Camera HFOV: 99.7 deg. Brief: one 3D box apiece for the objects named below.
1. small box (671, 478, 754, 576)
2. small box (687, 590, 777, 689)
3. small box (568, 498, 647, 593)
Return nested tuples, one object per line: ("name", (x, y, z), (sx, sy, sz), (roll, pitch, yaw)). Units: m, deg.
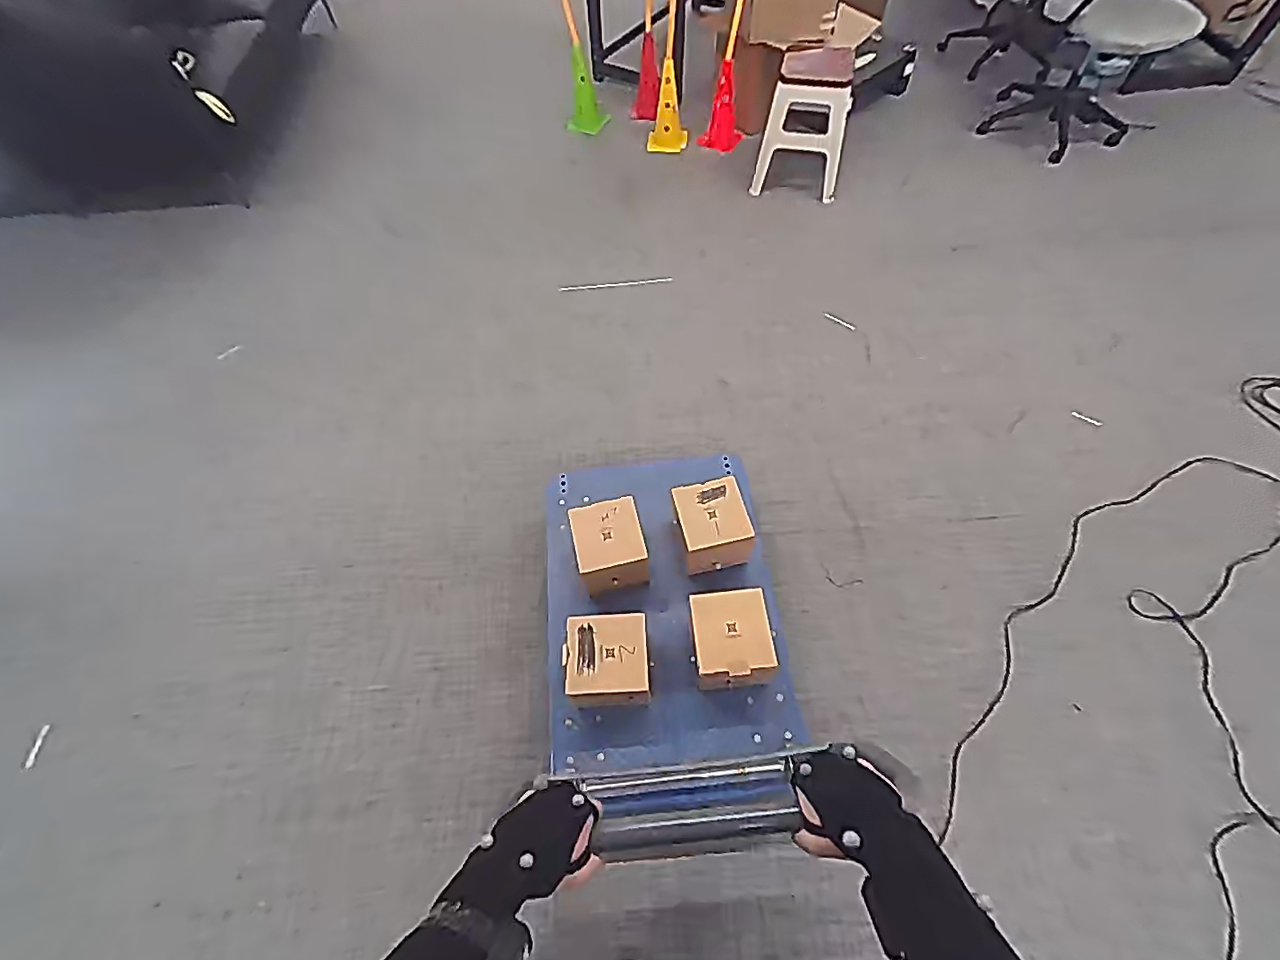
("small box", (0.178, 0.124, 1.386), (0.168, 0.176, 0.179), (-12, 60, -4))
("small box", (0.202, 0.368, 1.239), (0.168, 0.176, 0.179), (-6, 60, -1))
("small box", (-0.078, 0.173, 1.368), (0.168, 0.176, 0.179), (-12, 59, -5))
